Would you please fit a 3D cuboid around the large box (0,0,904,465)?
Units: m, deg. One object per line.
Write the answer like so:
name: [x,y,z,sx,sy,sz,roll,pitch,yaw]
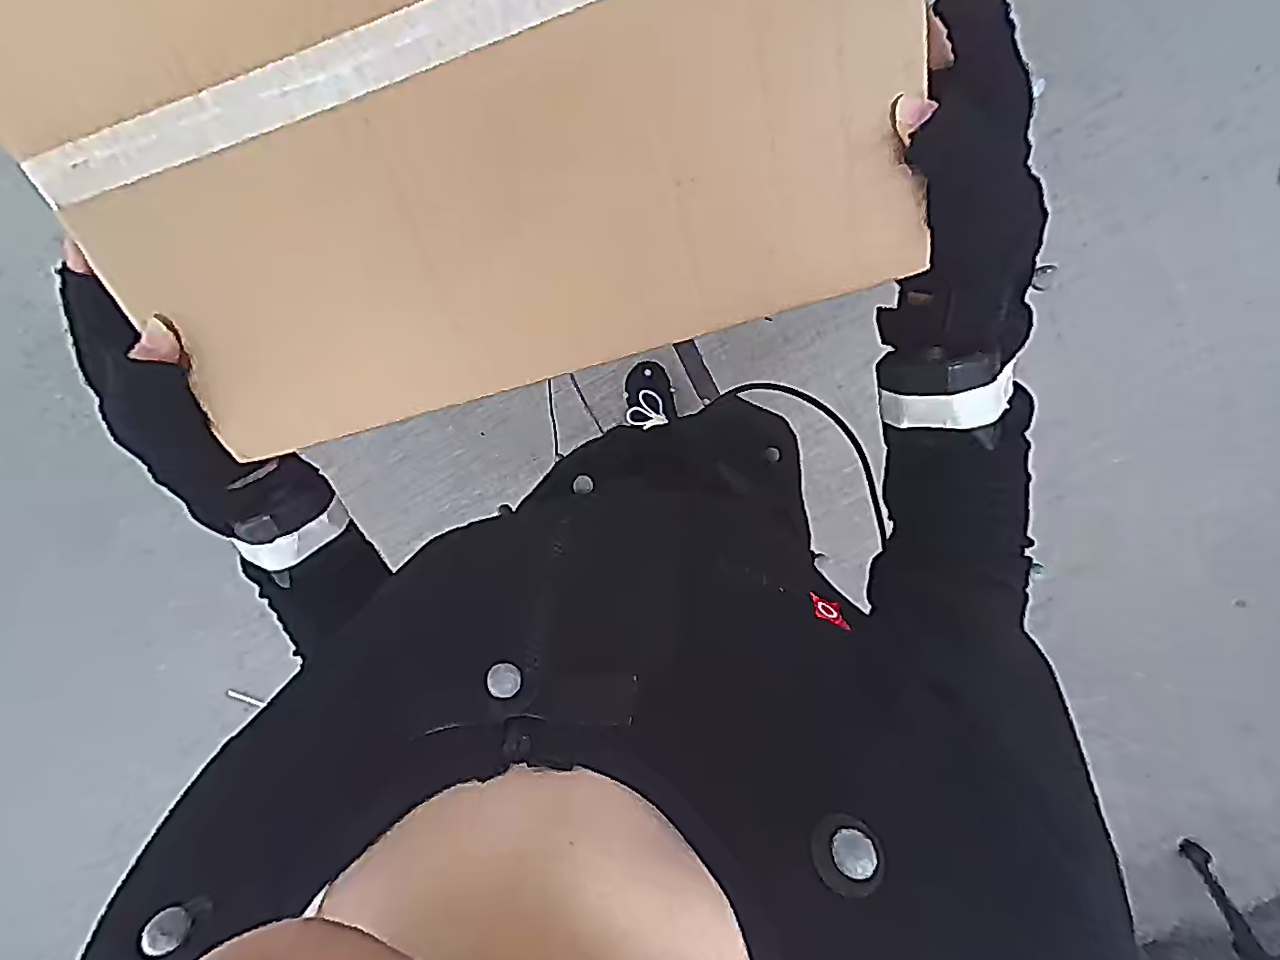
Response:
large box: [-0.093,-0.260,0.373,0.408,0.320,0.320,-15,117,9]
